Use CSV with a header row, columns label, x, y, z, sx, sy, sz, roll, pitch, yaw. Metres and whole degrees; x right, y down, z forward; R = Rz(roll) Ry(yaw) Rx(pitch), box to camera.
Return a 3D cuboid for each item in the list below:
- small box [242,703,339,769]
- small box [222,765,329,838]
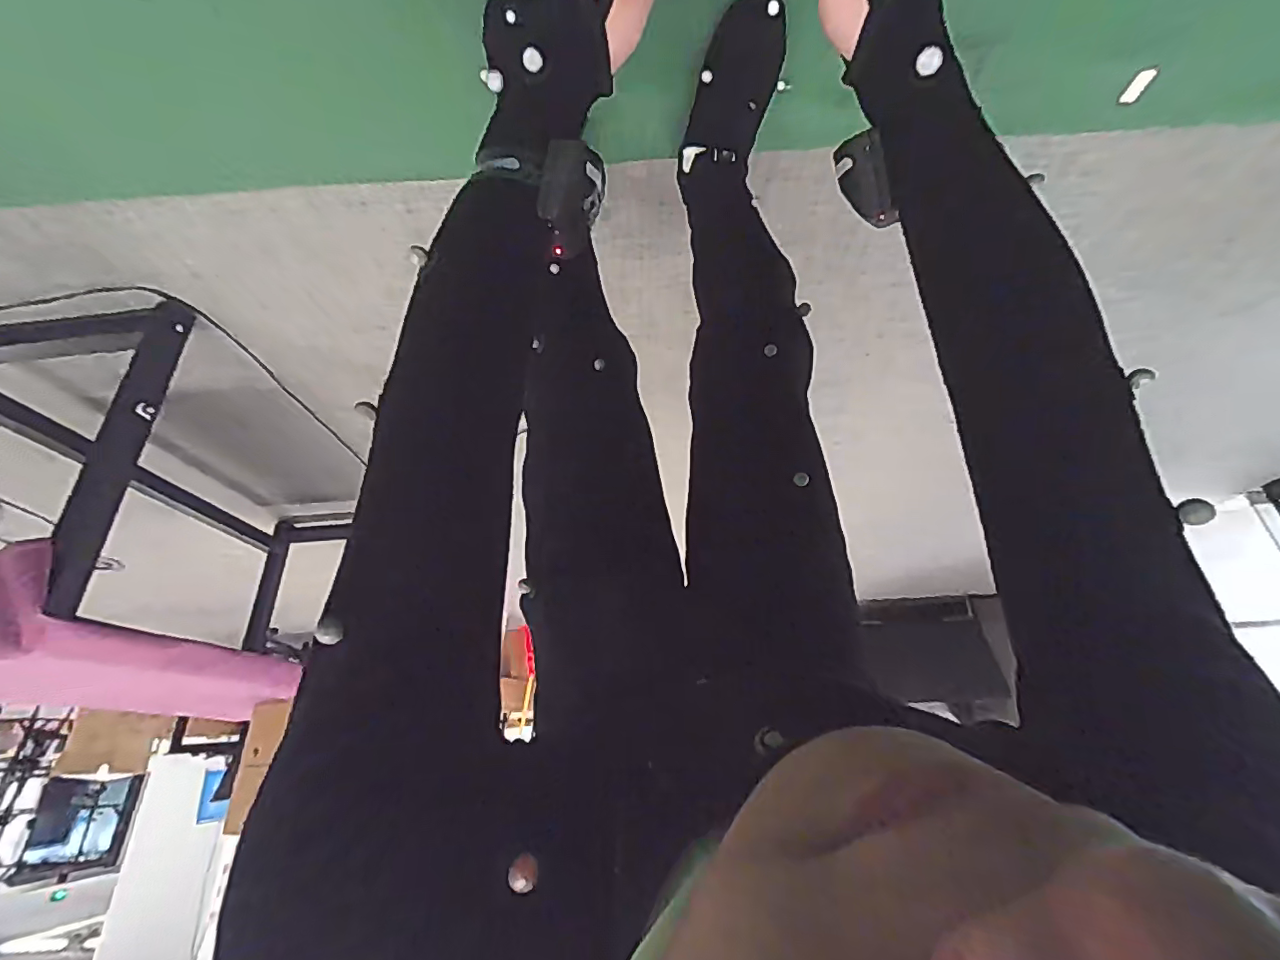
label,x,y,z,sx,sy,sz,roll,pitch,yaw
small box,-1.032,0.764,1.617,0.179,0.176,0.168,-4,153,4
small box,-1.028,0.910,1.541,0.179,0.176,0.168,-5,153,3
